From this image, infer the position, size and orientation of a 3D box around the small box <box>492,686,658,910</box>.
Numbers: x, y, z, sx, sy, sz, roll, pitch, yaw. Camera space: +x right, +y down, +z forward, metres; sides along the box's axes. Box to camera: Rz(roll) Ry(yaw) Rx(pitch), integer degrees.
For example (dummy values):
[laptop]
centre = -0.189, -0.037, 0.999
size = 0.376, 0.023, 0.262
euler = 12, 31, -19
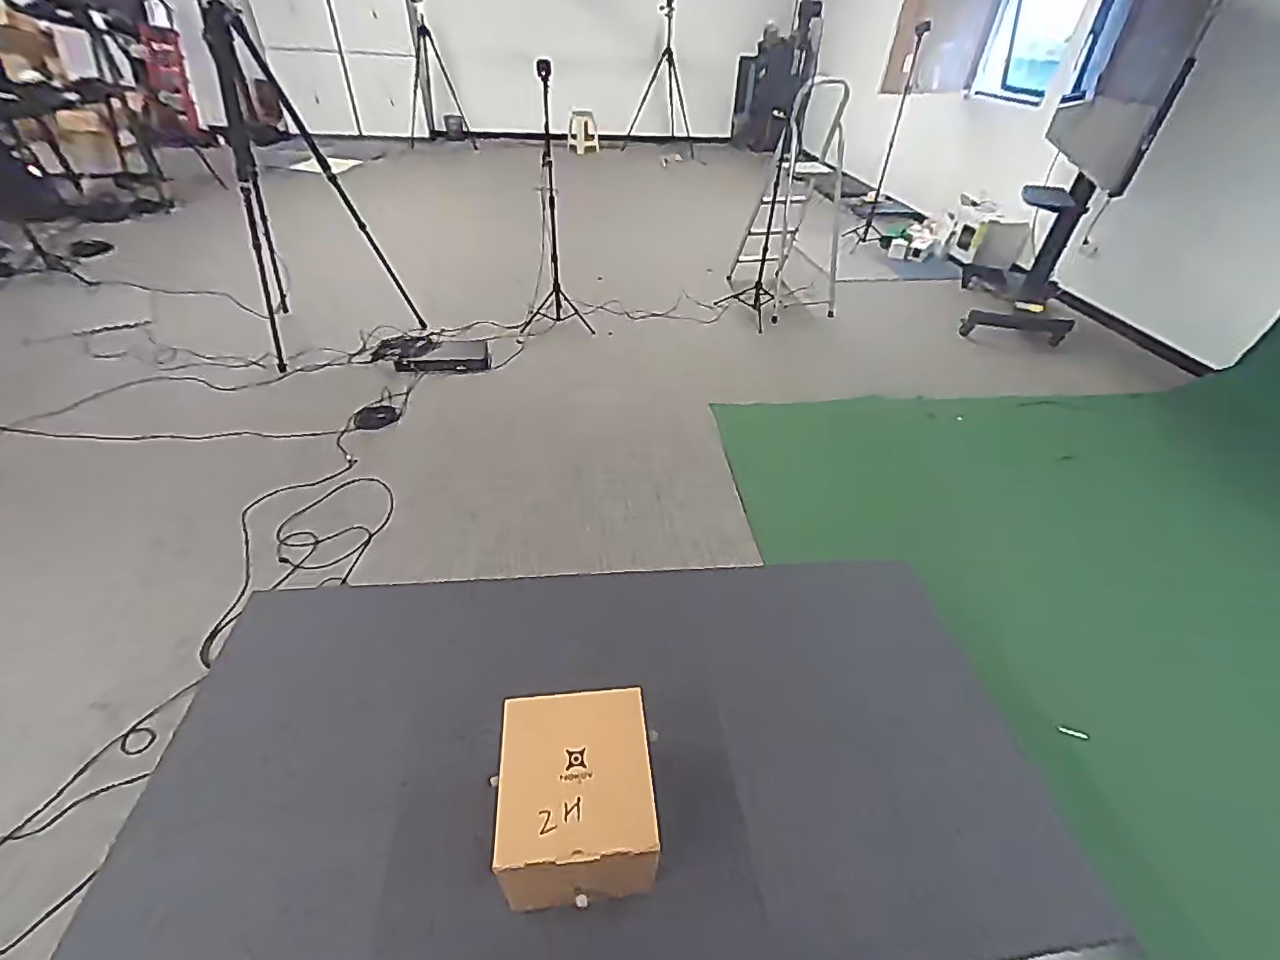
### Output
[small box]
centre = -0.075, 0.372, 0.641
size = 0.168, 0.176, 0.179
euler = -3, 40, -6
